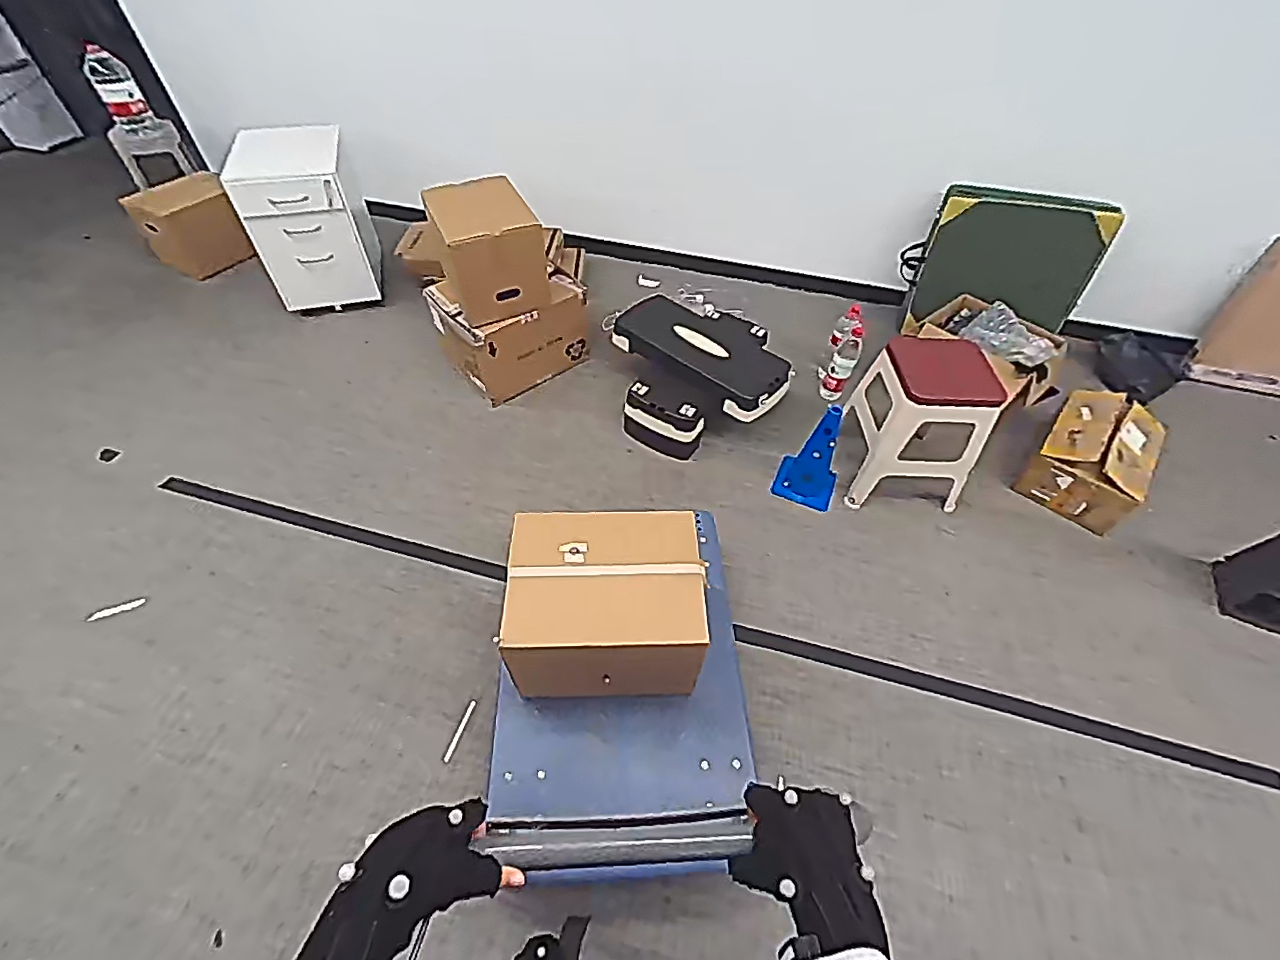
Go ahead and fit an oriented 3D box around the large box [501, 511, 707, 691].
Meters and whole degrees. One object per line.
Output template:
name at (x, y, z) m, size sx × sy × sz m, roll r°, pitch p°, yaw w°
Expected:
large box at (-0.075, 0.285, 1.246) m, size 0.408 × 0.320 × 0.320 m, roll 0°, pitch 52°, yaw -2°
